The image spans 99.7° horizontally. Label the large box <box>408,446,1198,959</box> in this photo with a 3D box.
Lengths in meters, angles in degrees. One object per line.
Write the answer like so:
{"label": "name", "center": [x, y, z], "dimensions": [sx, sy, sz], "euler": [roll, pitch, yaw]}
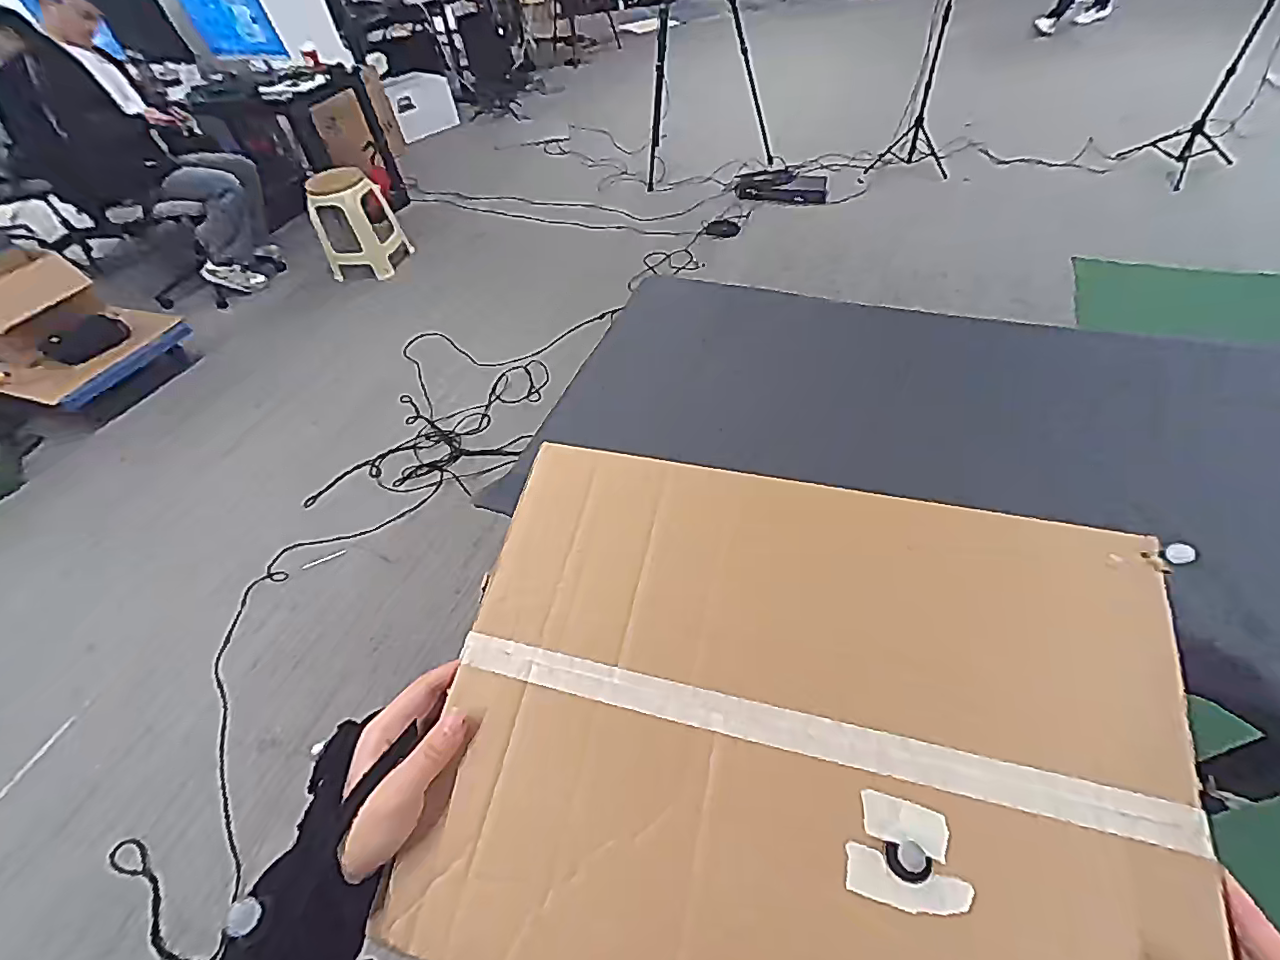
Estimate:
{"label": "large box", "center": [0.106, 0.201, 0.460], "dimensions": [0.408, 0.320, 0.320], "euler": [10, 66, 12]}
